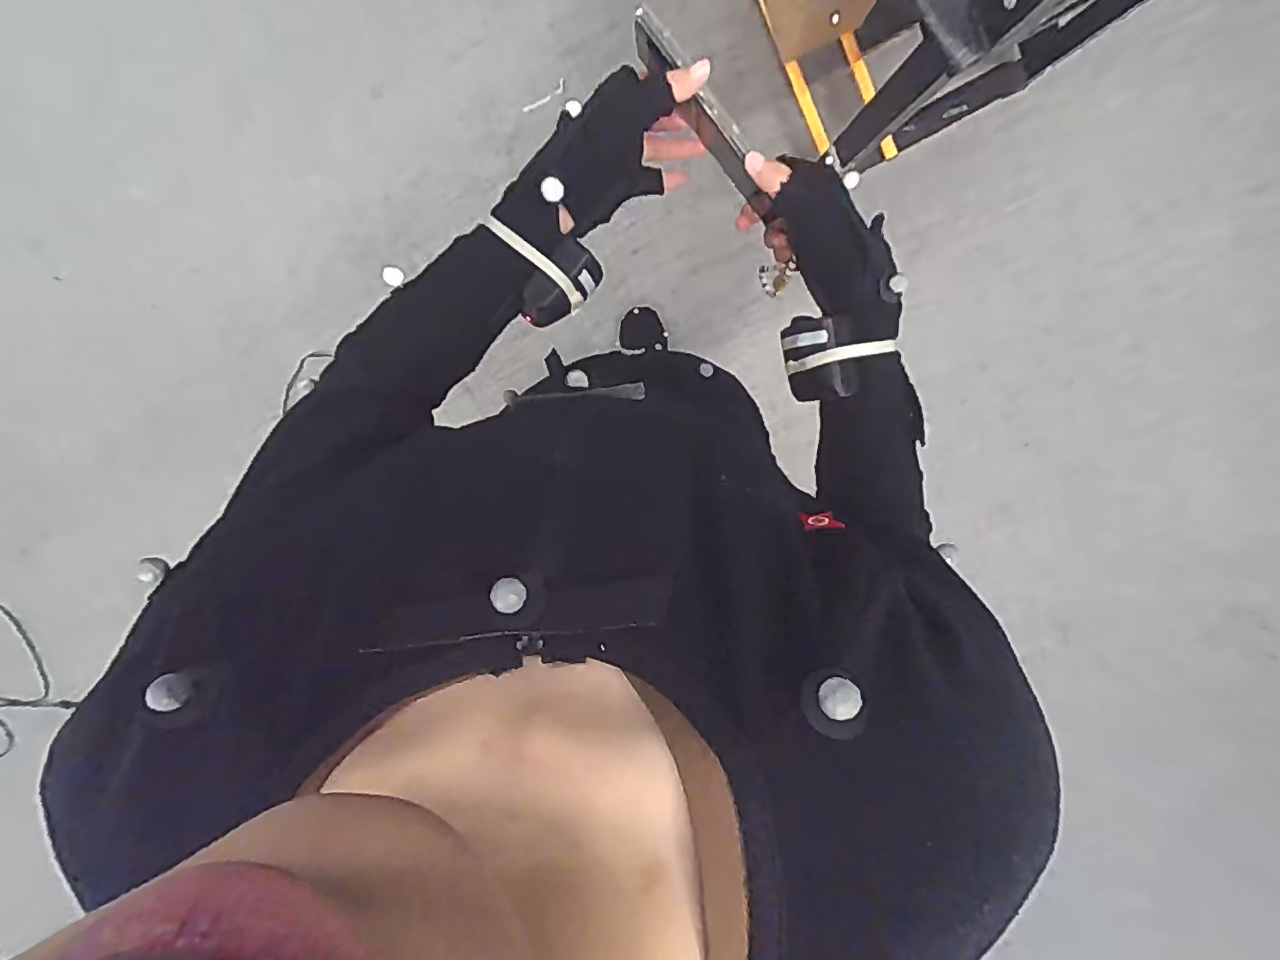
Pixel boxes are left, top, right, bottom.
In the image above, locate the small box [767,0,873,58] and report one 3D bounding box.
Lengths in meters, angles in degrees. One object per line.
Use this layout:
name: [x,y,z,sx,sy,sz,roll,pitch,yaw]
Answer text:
small box: [0.350,-0.969,1.041,0.179,0.176,0.168,-23,102,7]
